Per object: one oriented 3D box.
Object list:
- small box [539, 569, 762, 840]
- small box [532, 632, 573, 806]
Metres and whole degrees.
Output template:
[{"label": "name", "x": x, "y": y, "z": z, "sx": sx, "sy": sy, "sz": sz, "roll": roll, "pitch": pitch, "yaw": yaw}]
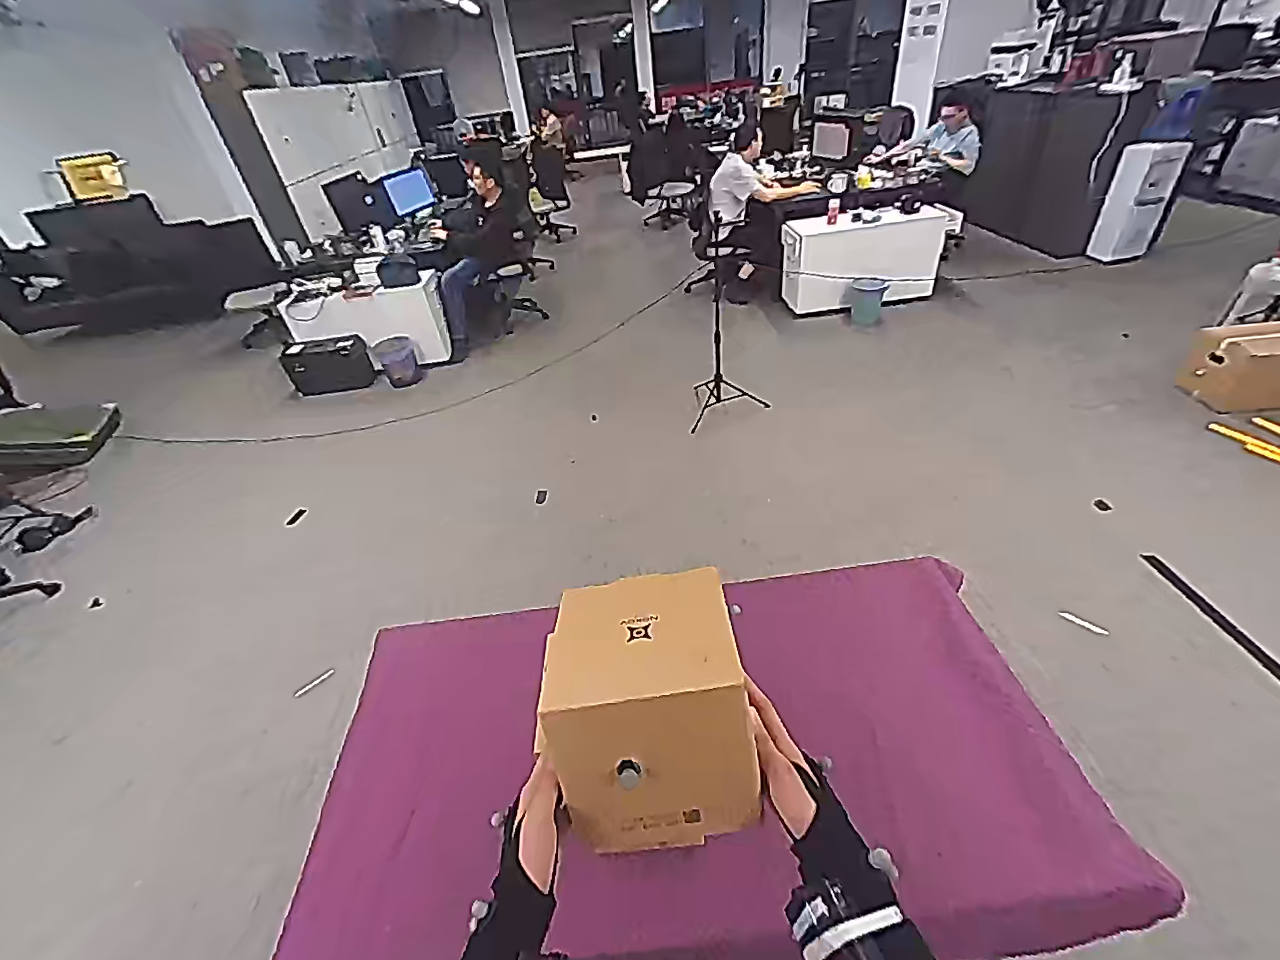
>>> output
[{"label": "small box", "x": 0.015, "y": 0.213, "z": 0.522, "sx": 0.168, "sy": 0.176, "sz": 0.179, "roll": -9, "pitch": 21, "yaw": 3}, {"label": "small box", "x": -0.031, "y": 0.315, "z": 0.724, "sx": 0.179, "sy": 0.176, "sz": 0.168, "roll": -6, "pitch": 37, "yaw": 3}]
